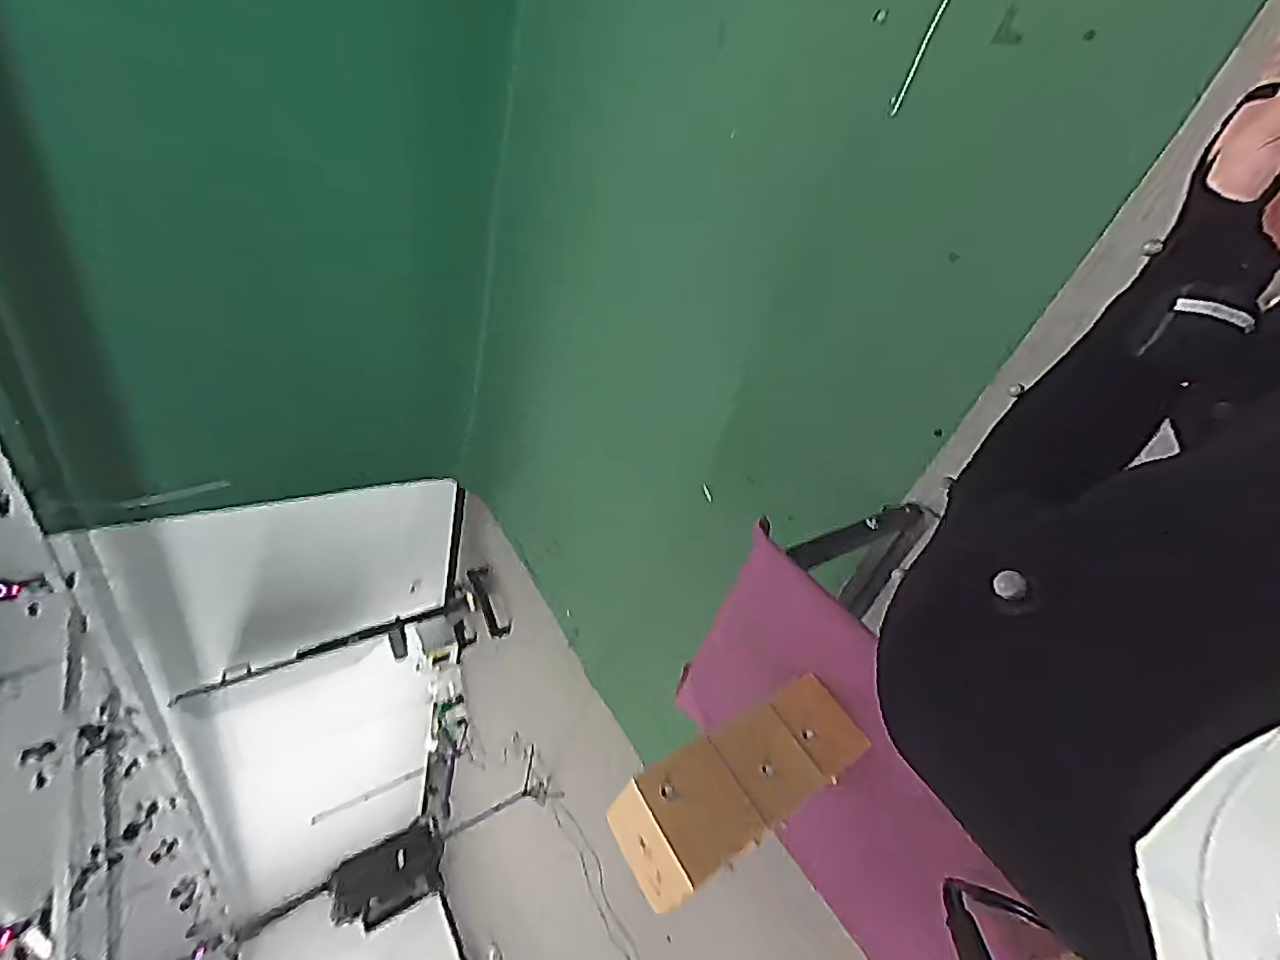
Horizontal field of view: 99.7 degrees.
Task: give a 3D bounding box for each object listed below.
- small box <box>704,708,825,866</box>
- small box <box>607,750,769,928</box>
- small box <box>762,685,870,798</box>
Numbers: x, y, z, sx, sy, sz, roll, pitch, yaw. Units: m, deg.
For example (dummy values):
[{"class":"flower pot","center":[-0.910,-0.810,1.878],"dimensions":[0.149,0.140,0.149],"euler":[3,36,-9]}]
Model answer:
[{"class":"small box","center":[0.206,0.567,1.008],"dimensions":[0.179,0.176,0.168],"euler":[49,132,30]},{"class":"small box","center":[0.077,0.586,0.906],"dimensions":[0.179,0.176,0.168],"euler":[49,134,31]},{"class":"small box","center":[0.329,0.550,1.116],"dimensions":[0.179,0.176,0.168],"euler":[49,133,31]}]
